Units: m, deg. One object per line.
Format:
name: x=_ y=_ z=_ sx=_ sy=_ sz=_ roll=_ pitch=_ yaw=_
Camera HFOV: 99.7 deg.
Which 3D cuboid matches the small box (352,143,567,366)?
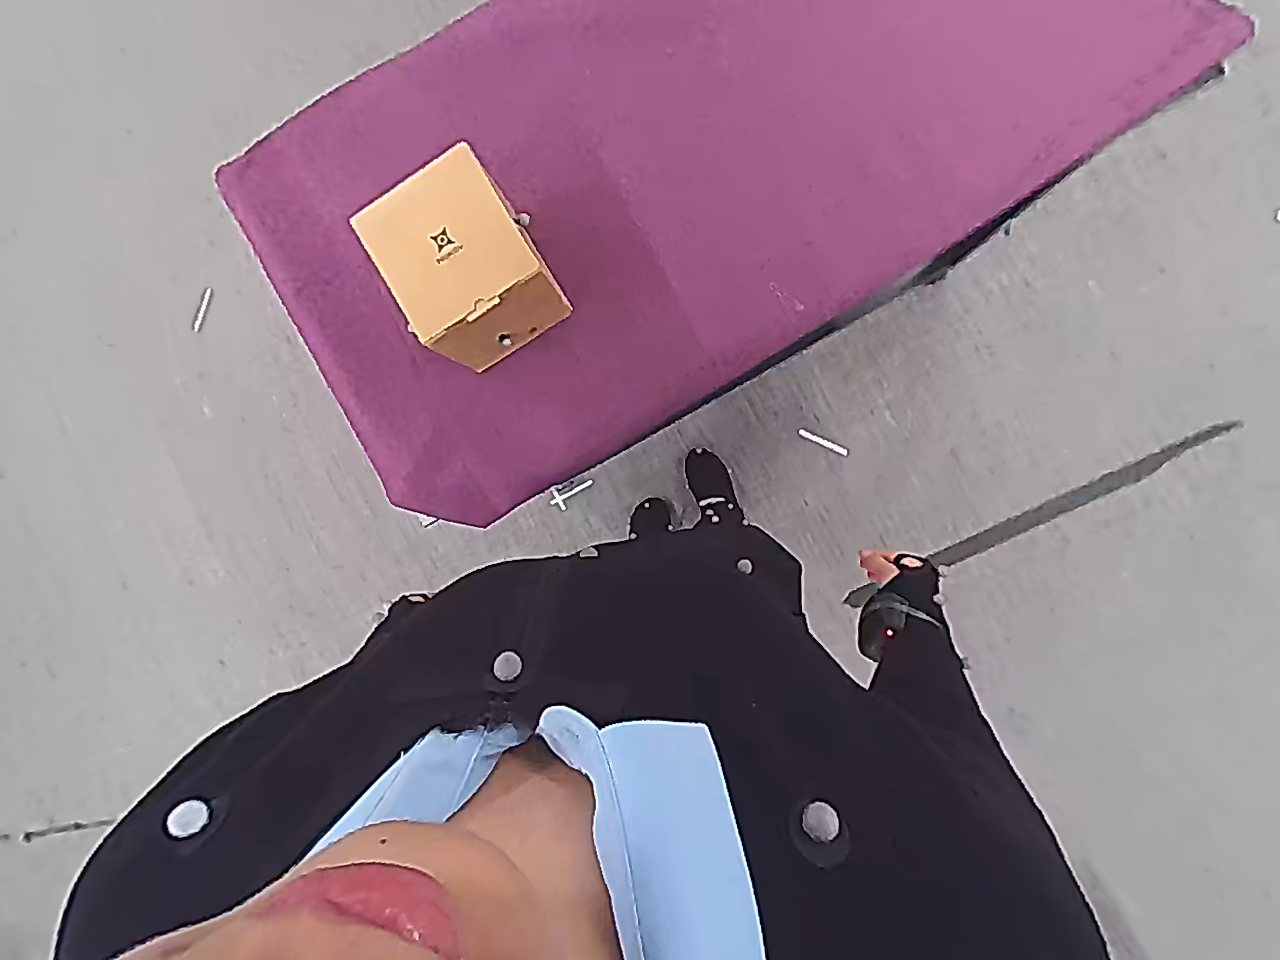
small box: x=-0.217 y=-0.272 z=0.697 sx=0.168 sy=0.176 sz=0.179 roll=-32 pitch=89 yaw=4
